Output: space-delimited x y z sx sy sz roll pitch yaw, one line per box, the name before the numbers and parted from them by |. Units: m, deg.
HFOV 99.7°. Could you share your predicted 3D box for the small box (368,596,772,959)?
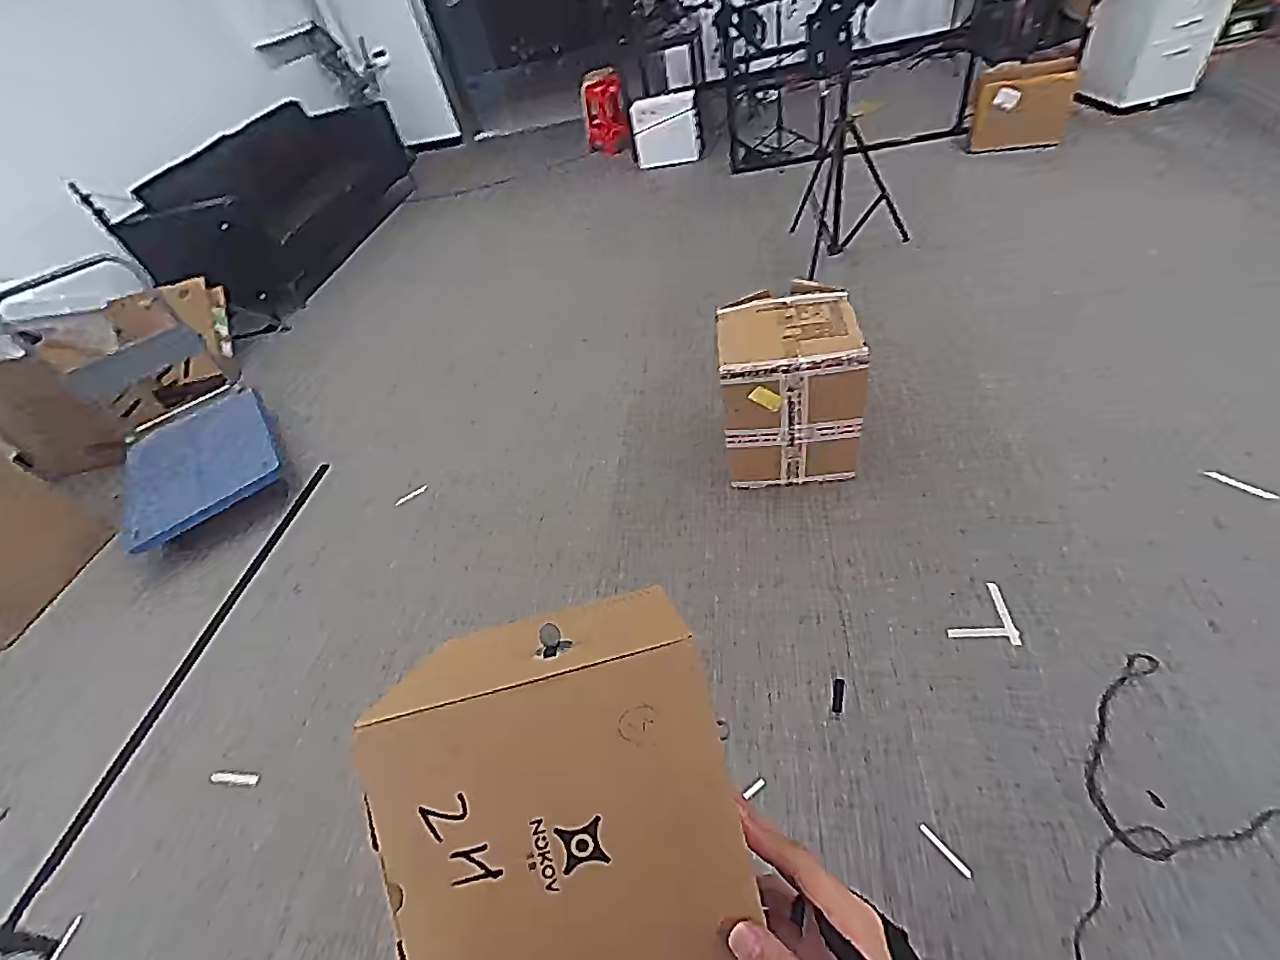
small box | -0.039 0.184 0.350 0.179 0.176 0.168 -13 88 -4
